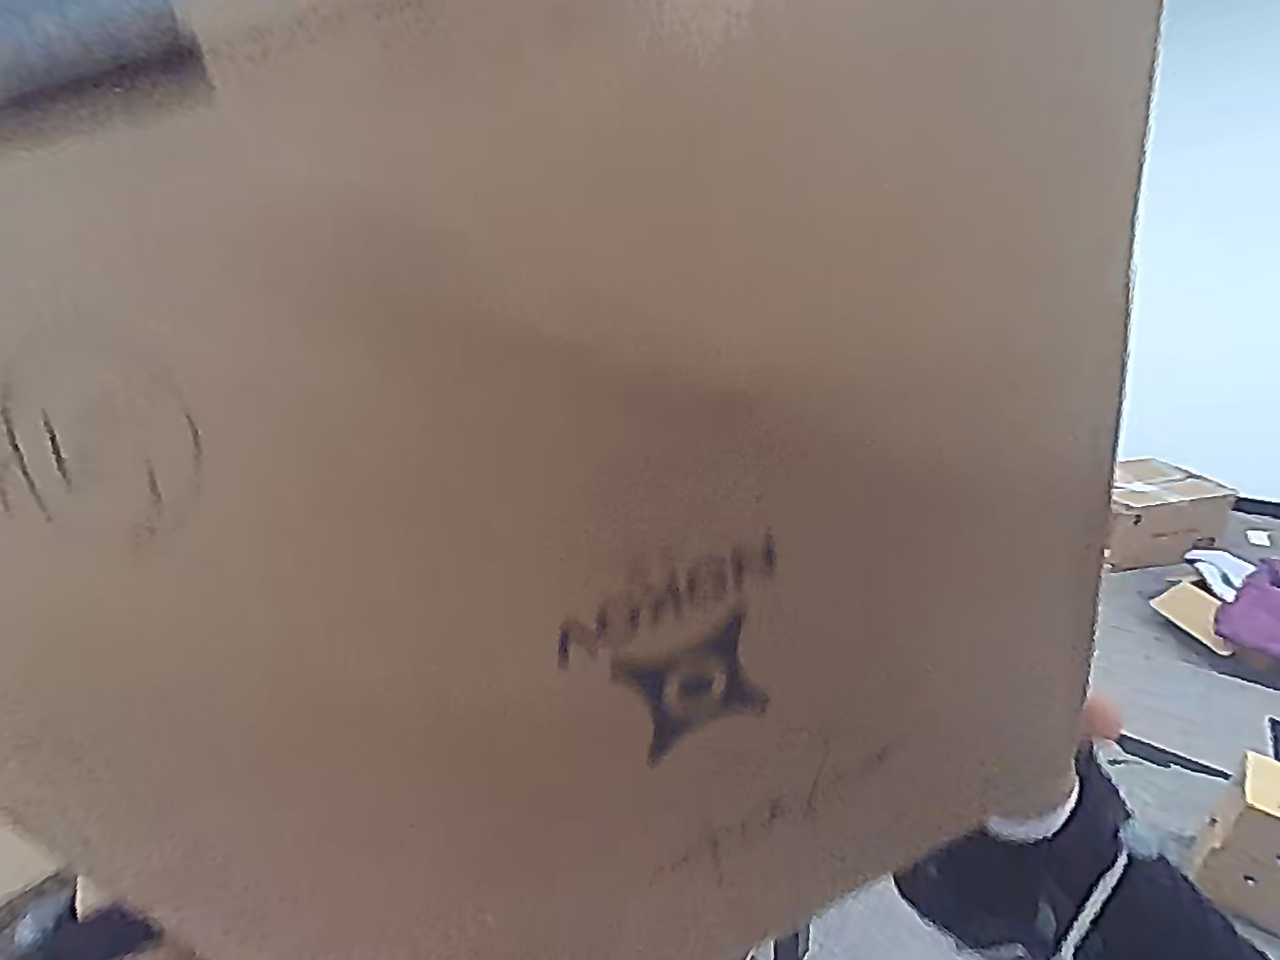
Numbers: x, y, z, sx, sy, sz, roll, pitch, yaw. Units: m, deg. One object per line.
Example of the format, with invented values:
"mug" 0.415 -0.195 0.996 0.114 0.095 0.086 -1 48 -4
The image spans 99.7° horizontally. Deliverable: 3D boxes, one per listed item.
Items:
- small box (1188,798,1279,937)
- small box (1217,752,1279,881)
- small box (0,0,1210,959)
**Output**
"small box" 1.431 0.907 1.266 0.168 0.176 0.179 -27 33 -37
"small box" 1.423 0.758 1.195 0.168 0.176 0.179 18 35 42
"small box" -0.009 0.006 0.158 0.168 0.179 0.176 -21 26 -8
